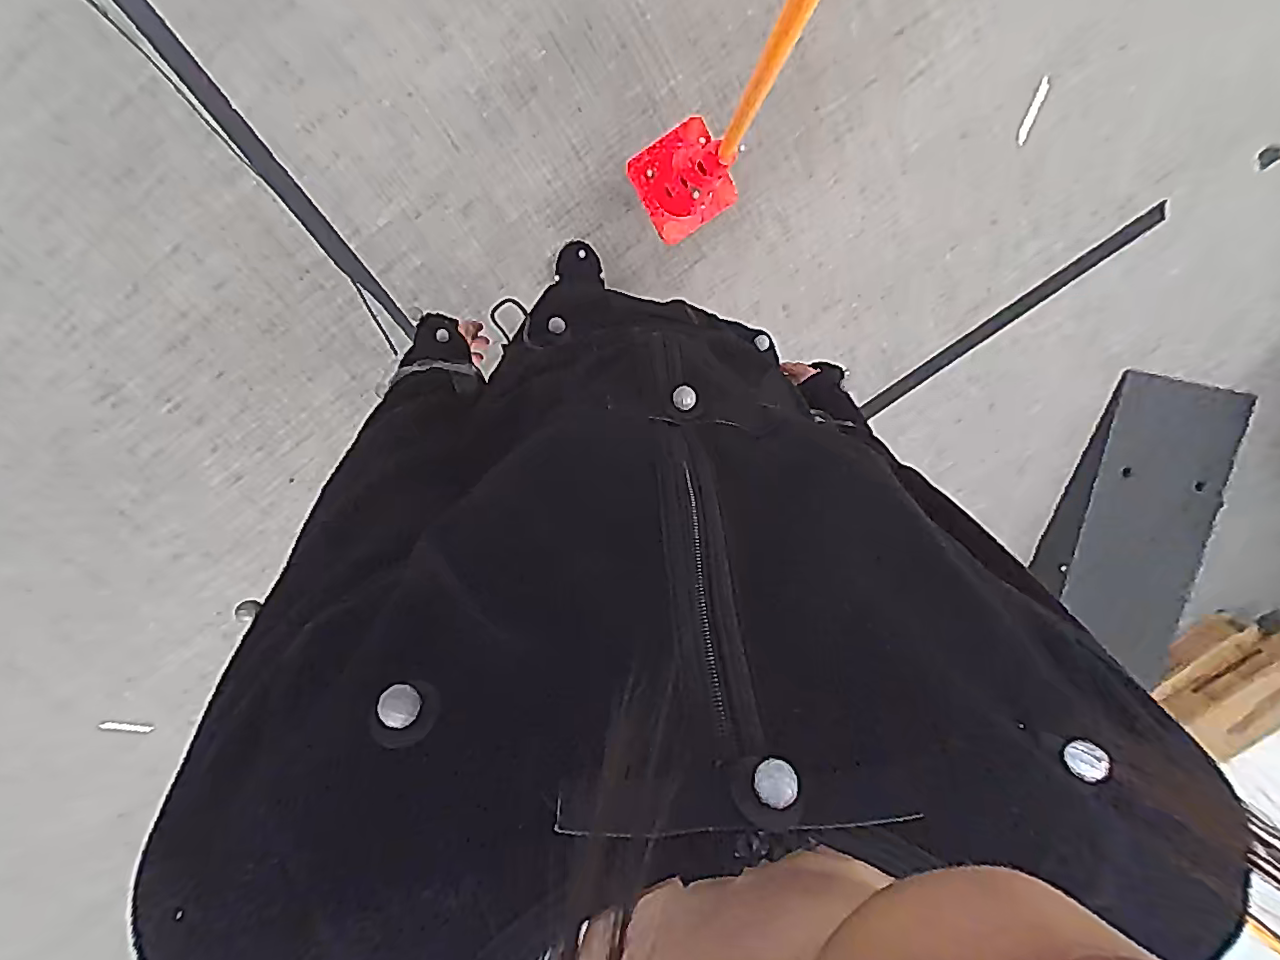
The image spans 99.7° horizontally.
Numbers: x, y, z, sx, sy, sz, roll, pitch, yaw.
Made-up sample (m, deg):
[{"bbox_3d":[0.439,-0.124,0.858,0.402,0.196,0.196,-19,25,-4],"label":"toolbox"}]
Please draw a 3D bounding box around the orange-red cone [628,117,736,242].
[{"bbox_3d":[0.119,-0.603,1.051,0.198,0.360,0.199,-31,113,5],"label":"orange-red cone"}]
